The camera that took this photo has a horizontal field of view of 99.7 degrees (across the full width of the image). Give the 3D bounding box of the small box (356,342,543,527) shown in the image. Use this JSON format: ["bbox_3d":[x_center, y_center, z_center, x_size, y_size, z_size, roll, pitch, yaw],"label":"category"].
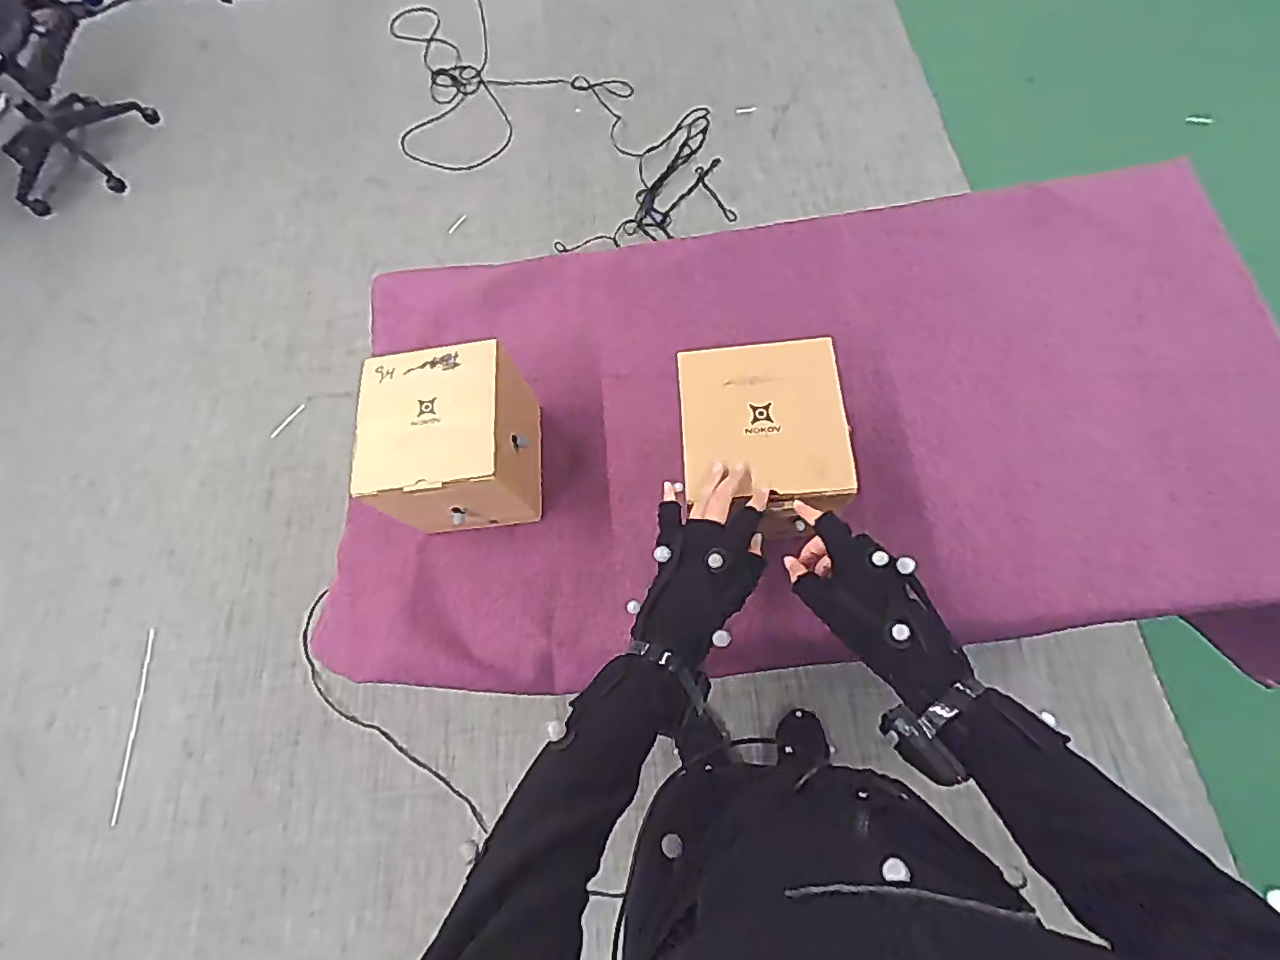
[{"bbox_3d":[-0.225,-0.044,0.681,0.168,0.176,0.179,-7,70,5],"label":"small box"}]

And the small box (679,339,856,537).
[{"bbox_3d":[0.136,-0.035,0.626,0.168,0.176,0.179,-4,69,6],"label":"small box"}]
